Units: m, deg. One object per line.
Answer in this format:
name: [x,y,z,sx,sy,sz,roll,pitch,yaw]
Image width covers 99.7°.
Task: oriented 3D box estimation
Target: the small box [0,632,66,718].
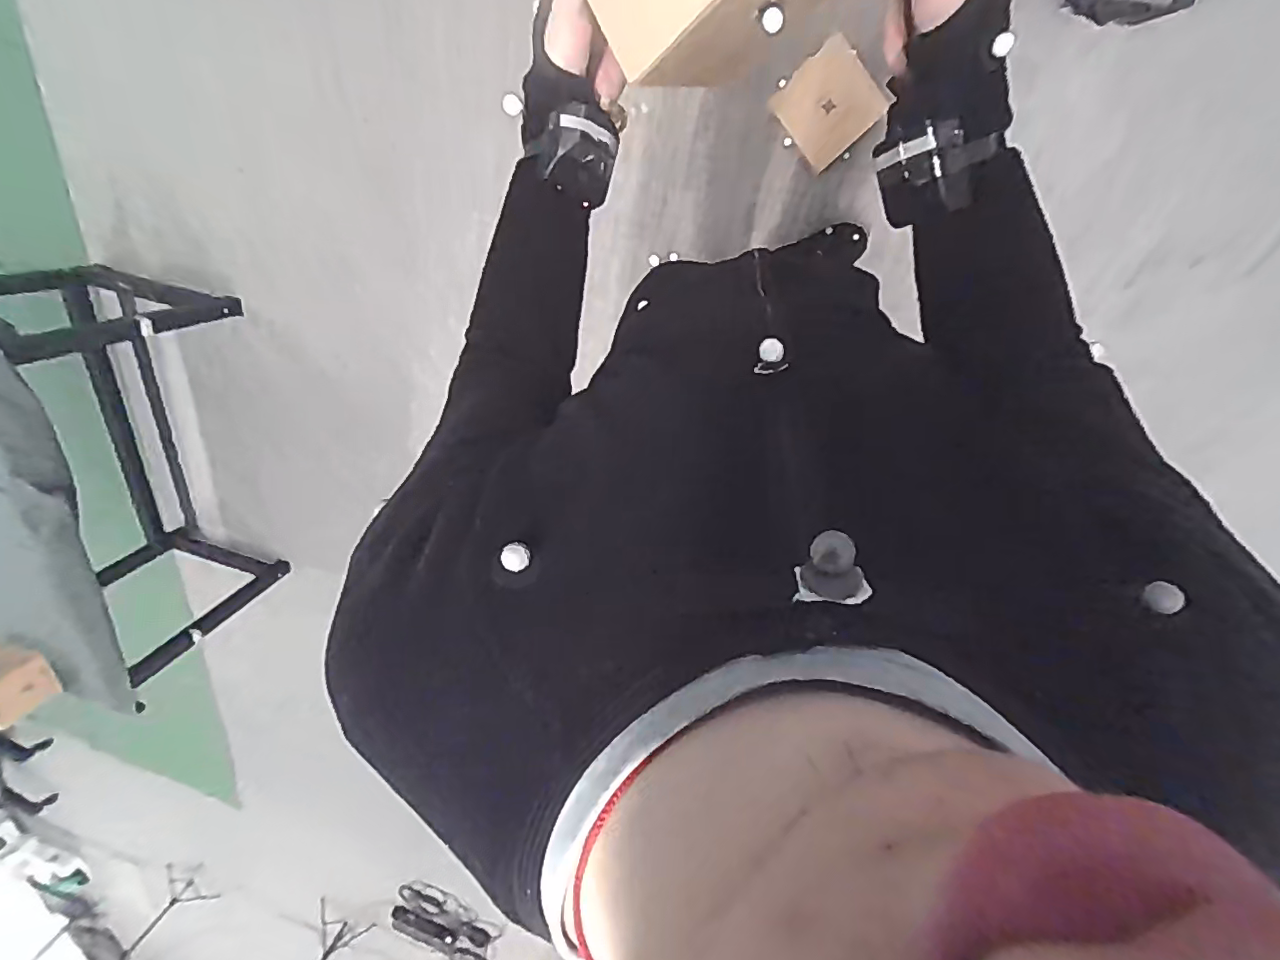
small box: [-1.975,0.606,1.698,0.179,0.176,0.168,12,119,9]
